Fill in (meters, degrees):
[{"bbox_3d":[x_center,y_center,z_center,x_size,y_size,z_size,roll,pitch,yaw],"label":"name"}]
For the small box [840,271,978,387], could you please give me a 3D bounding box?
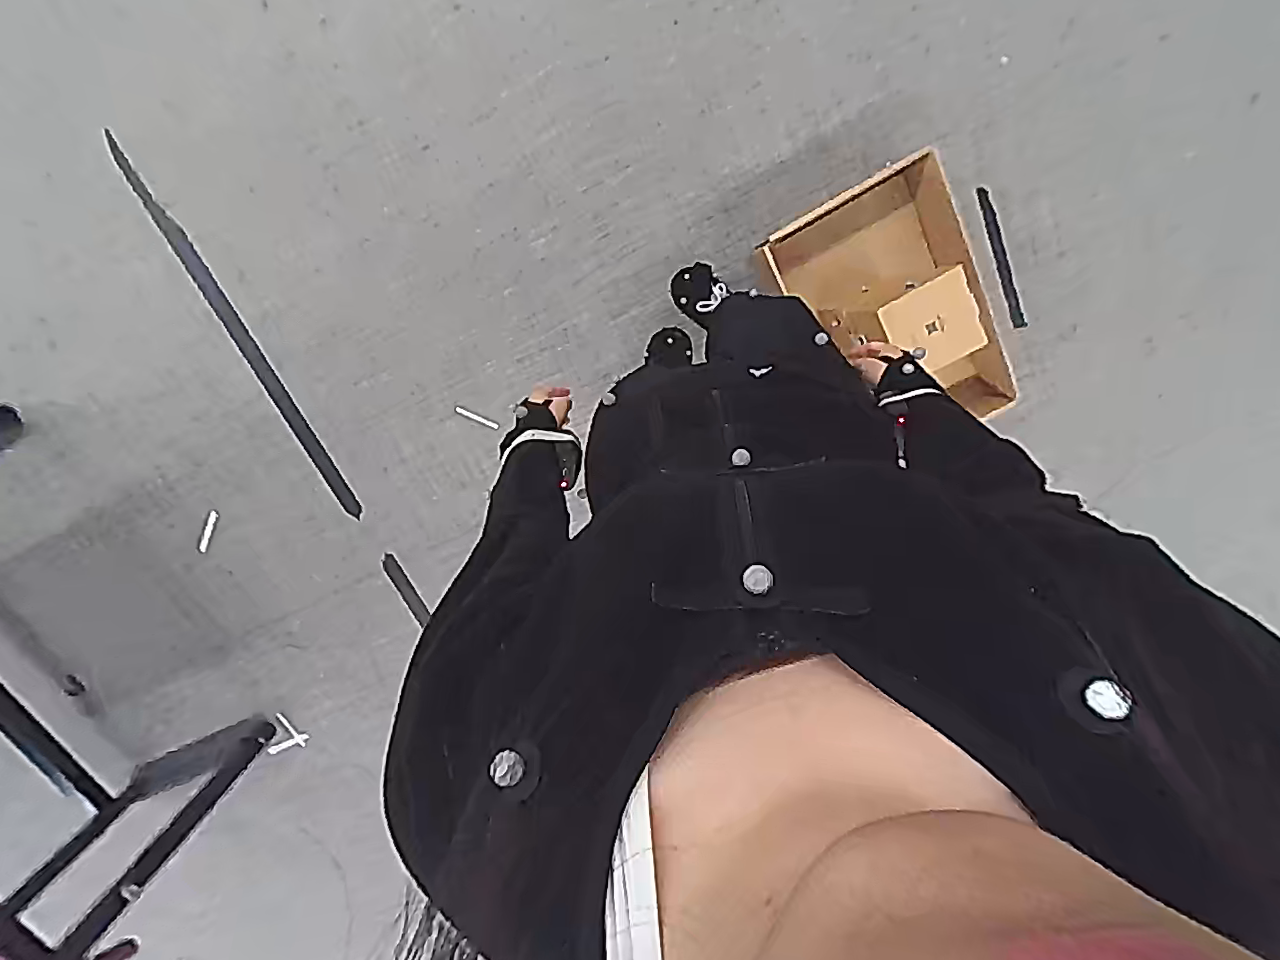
[{"bbox_3d":[0.553,-0.316,1.131,0.179,0.176,0.168,-28,105,7],"label":"small box"}]
